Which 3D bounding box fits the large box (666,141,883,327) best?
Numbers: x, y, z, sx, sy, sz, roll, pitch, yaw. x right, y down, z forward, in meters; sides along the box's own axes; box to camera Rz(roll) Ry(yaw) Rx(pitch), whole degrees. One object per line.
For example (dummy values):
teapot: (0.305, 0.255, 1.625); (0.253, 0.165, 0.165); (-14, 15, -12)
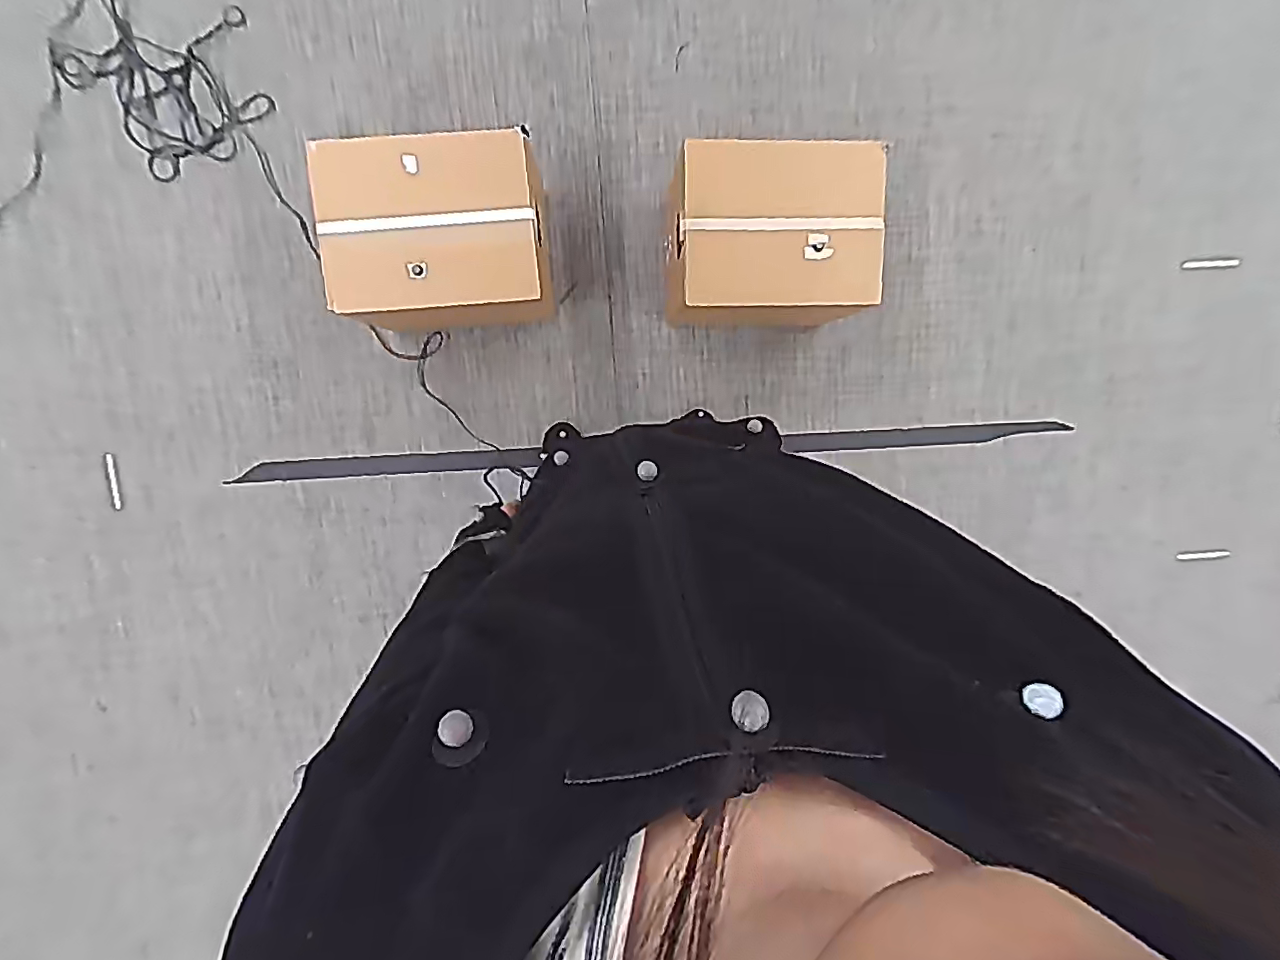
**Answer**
large box: (0.278, -0.531, 1.227); (0.408, 0.320, 0.320); (-1, 98, -4)
